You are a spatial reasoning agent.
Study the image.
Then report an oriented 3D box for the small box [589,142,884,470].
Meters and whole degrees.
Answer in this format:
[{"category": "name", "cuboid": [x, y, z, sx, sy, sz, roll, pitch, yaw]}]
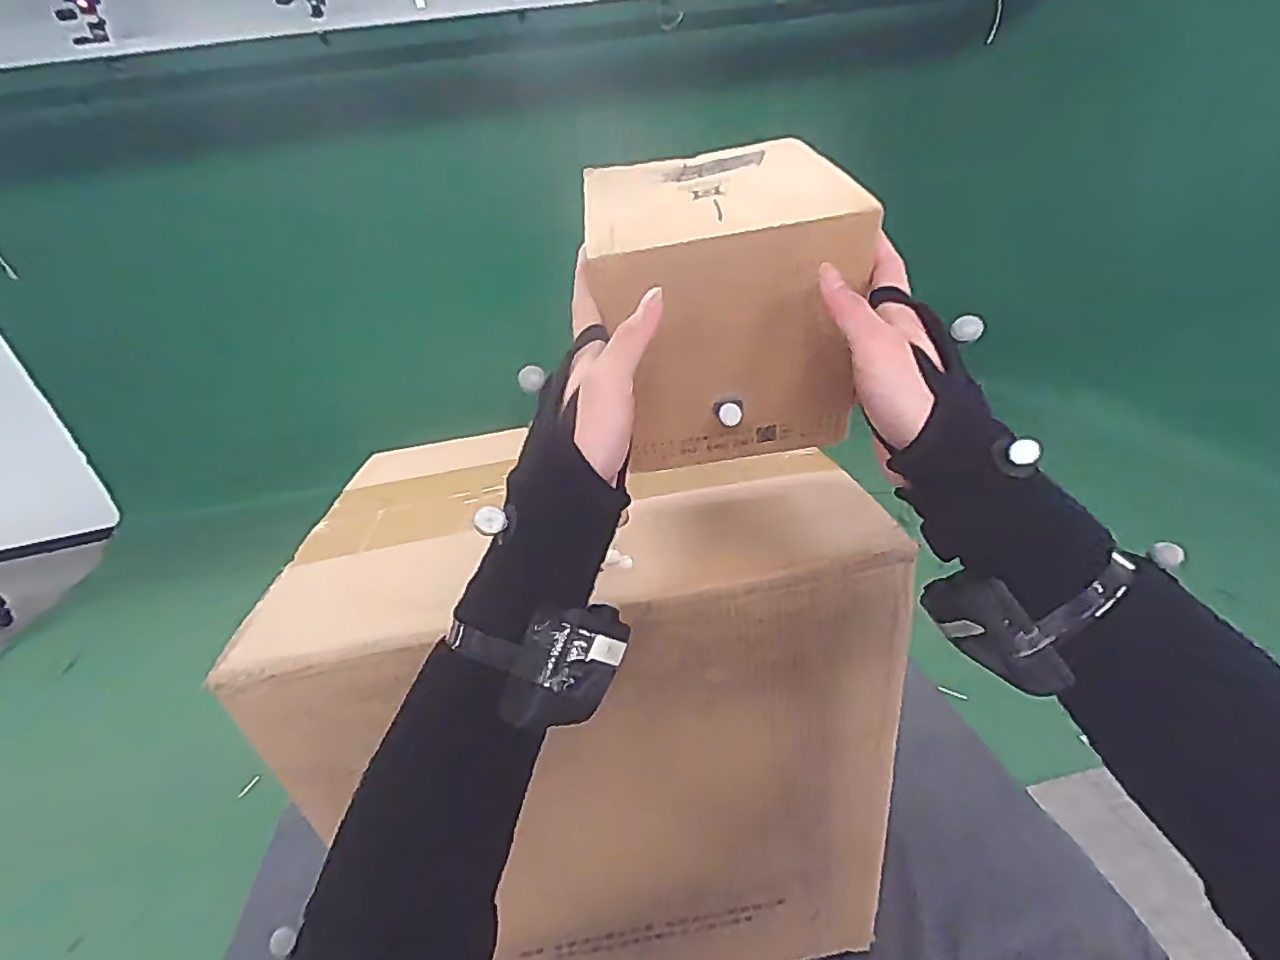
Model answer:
[{"category": "small box", "cuboid": [0.057, -0.132, 0.411, 0.168, 0.176, 0.179, -8, 44, 2]}]
